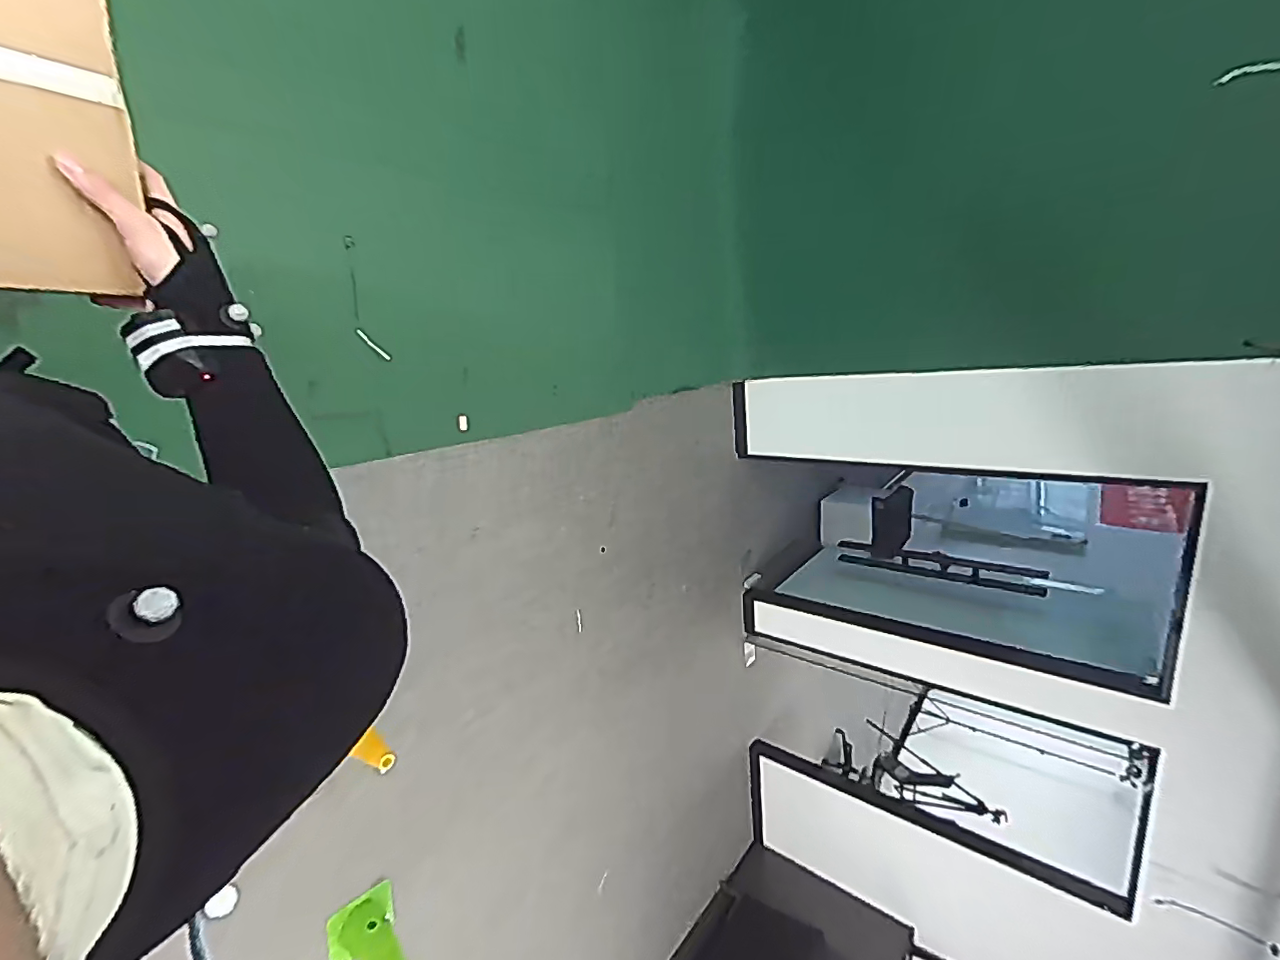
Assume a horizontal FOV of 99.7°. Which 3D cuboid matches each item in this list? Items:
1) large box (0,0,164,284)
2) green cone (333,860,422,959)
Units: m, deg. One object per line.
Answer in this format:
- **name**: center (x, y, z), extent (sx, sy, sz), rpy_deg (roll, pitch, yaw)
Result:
- **large box**: center (-0.670, -0.321, 0.394), extent (0.408, 0.320, 0.320), rpy_deg (-16, 117, -48)
- **green cone**: center (-0.774, 1.419, 1.687), extent (0.200, 0.368, 0.202), rpy_deg (-12, 104, -49)
